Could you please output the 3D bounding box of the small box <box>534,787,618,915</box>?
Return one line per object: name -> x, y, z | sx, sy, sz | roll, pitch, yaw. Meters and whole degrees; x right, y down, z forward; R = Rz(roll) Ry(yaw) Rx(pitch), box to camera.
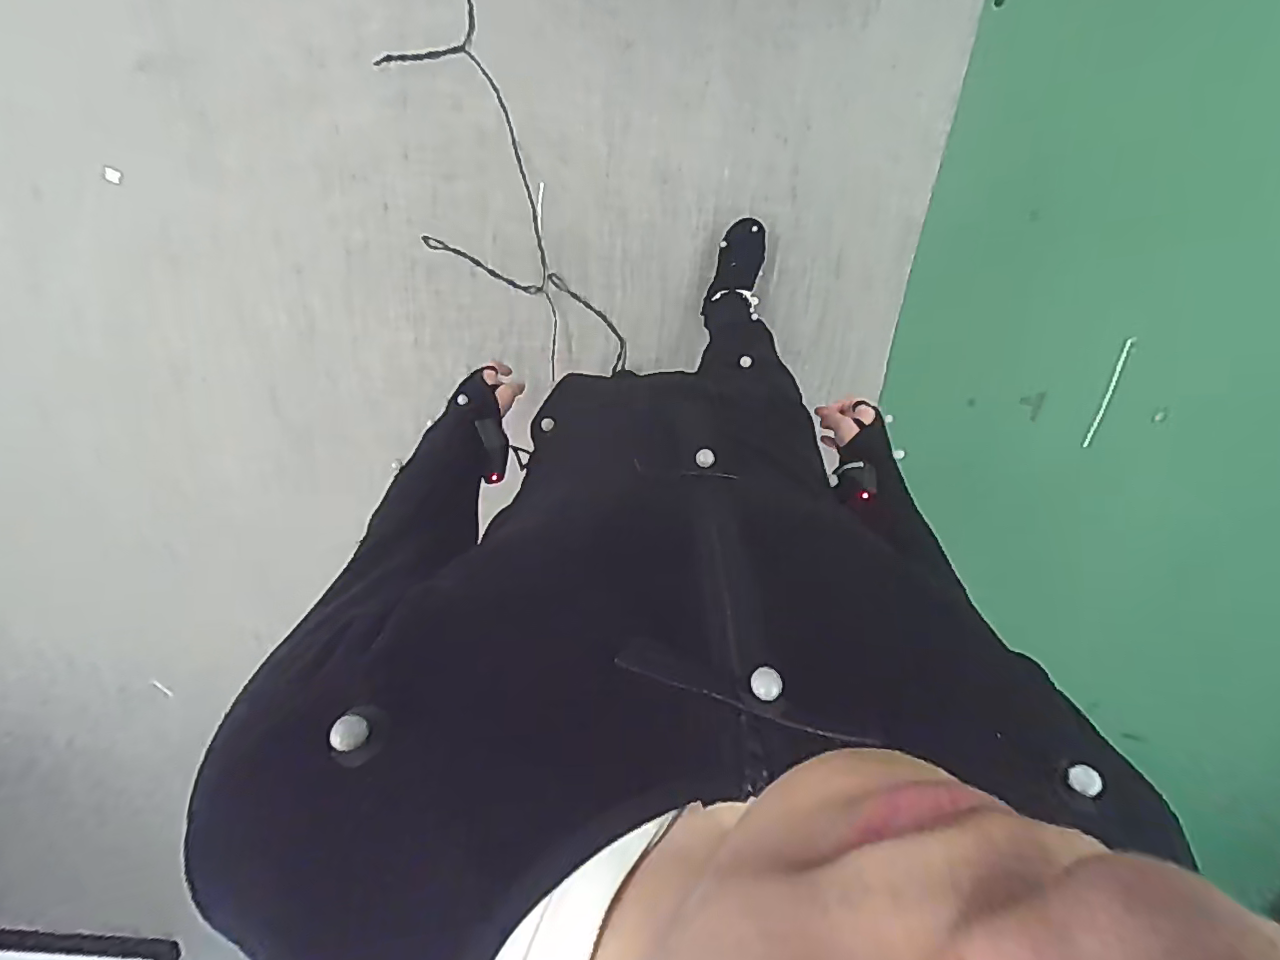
small box -> -0.143, 0.855, 1.252 | 0.168, 0.176, 0.179 | 8, 110, -3
